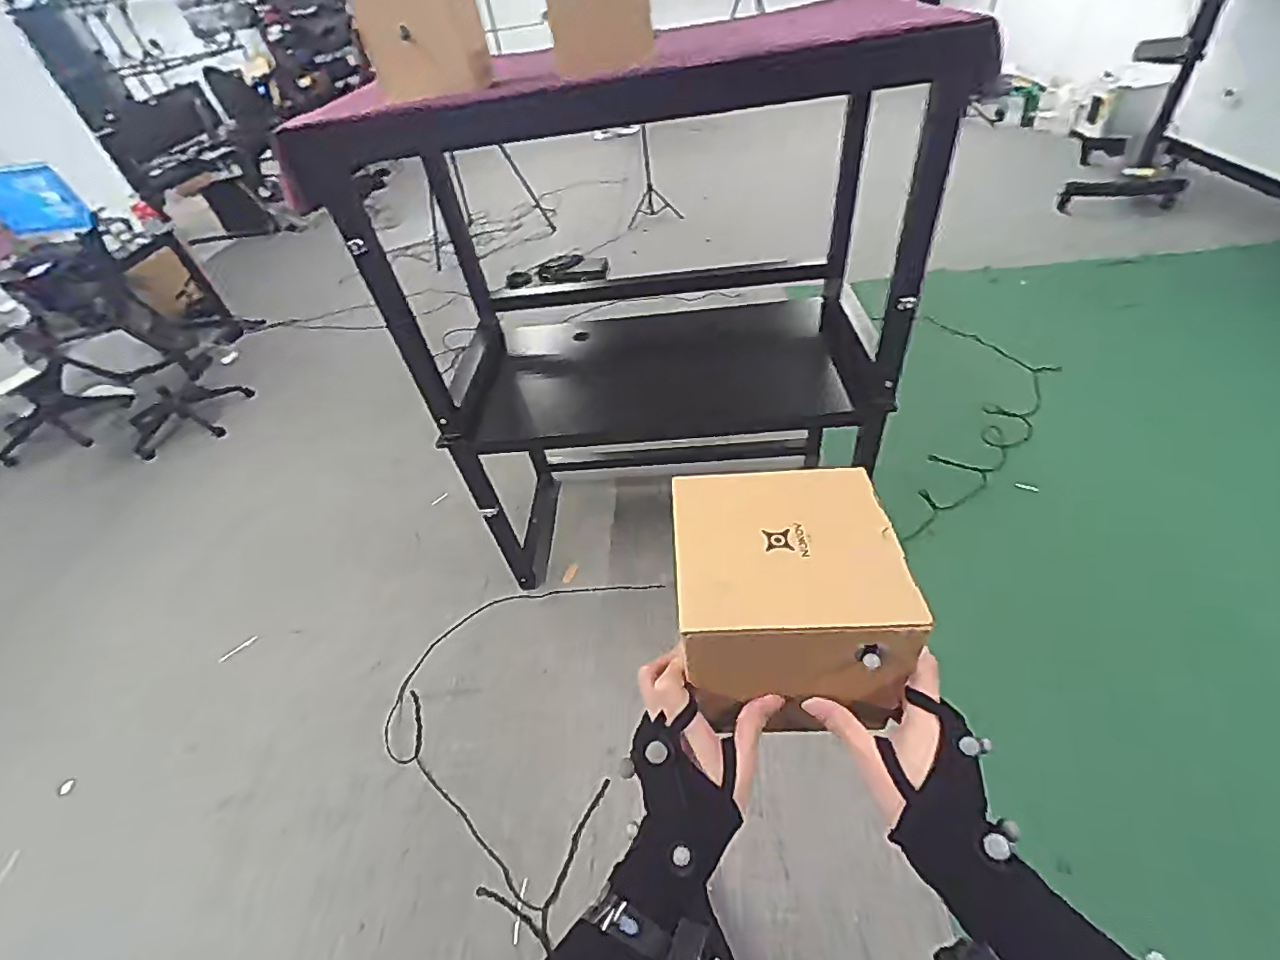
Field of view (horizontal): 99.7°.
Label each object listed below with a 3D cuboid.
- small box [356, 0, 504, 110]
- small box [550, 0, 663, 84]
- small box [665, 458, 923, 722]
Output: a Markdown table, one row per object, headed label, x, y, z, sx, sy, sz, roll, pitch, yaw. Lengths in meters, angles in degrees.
| label | x | y | z | sx | sy | sz | roll | pitch | yaw |
| --- | --- | --- | --- | --- | --- | --- | --- | --- | --- |
| small box | -0.370 | -0.794 | 0.983 | 0.179 | 0.176 | 0.168 | -6 | 43 | 6 |
| small box | -0.057 | -0.815 | 0.945 | 0.179 | 0.176 | 0.168 | -4 | 44 | 6 |
| small box | 0.116 | 0.099 | 0.480 | 0.179 | 0.176 | 0.168 | -3 | 41 | 4 |
